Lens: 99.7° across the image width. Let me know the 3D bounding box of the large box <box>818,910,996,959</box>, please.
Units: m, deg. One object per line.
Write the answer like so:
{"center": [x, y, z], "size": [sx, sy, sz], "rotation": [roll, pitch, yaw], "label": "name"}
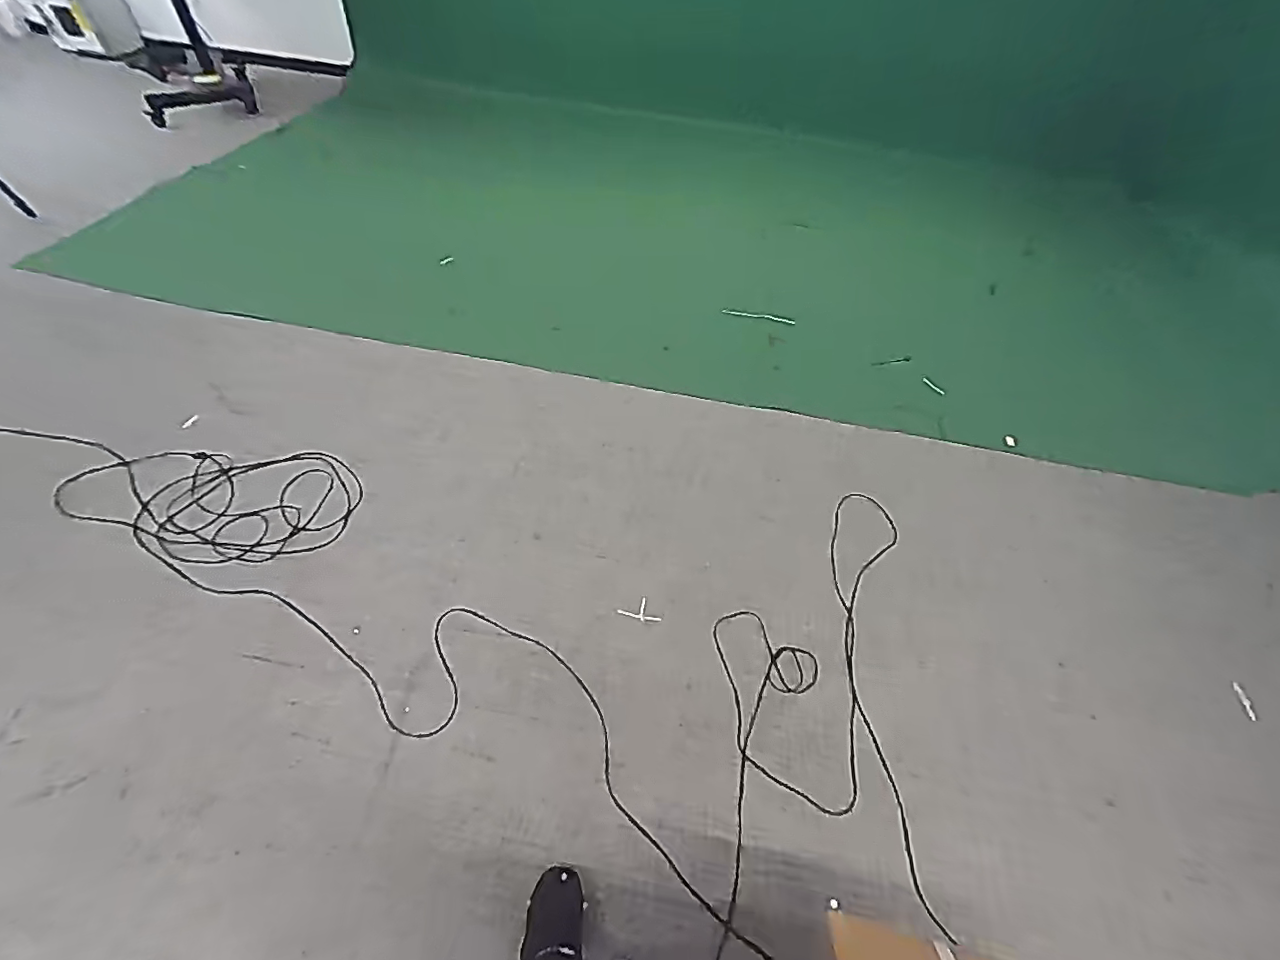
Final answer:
{"center": [0.364, 0.803, 0.587], "size": [0.320, 0.408, 0.320], "rotation": [11, 86, 12], "label": "large box"}
